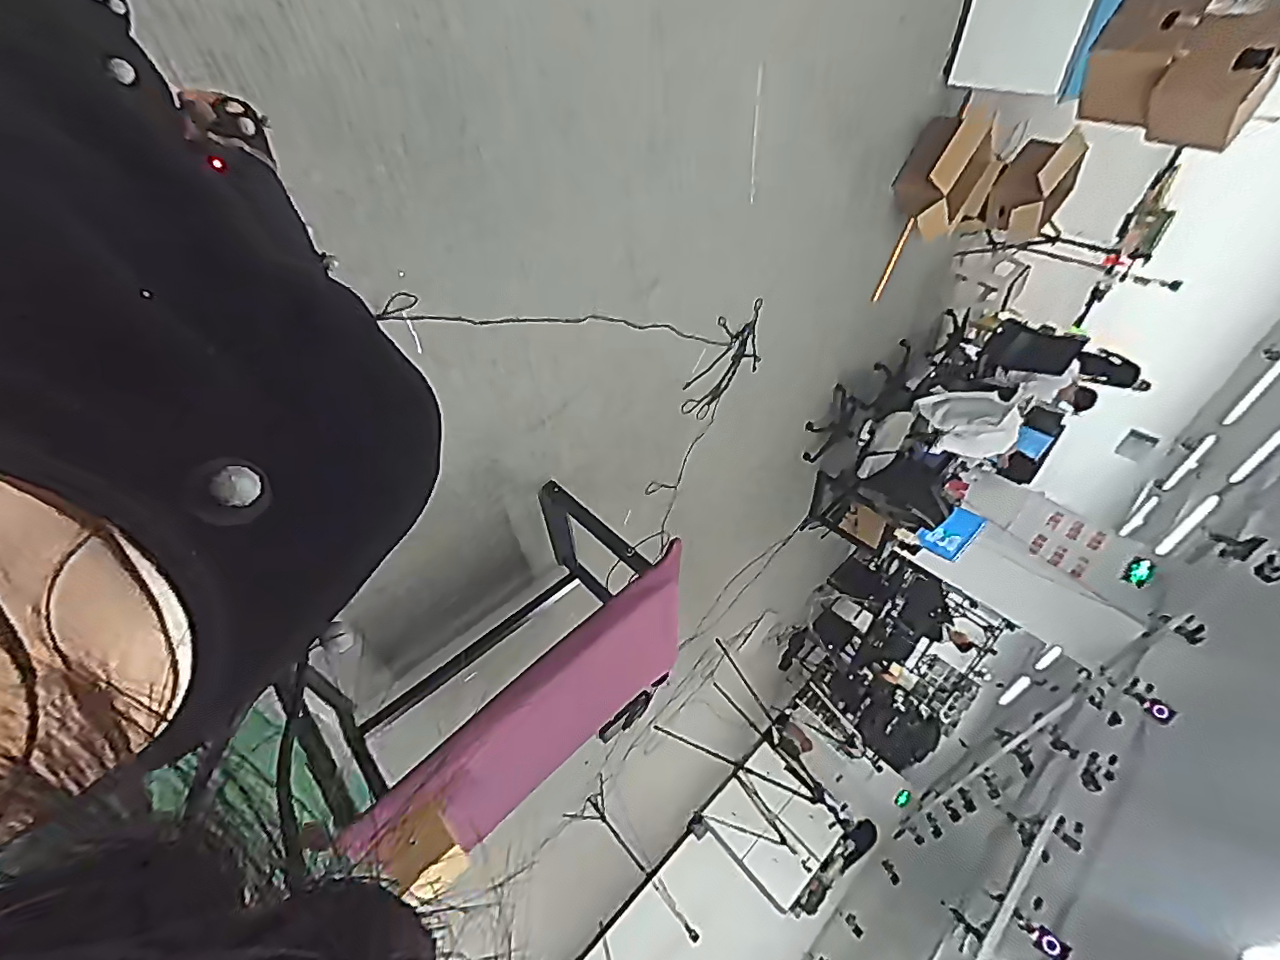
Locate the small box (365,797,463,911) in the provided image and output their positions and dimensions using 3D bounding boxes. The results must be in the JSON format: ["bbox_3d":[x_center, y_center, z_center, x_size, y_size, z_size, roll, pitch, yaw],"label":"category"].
[{"bbox_3d":[-0.609,1.000,1.458,0.168,0.176,0.179,-32,140,-30],"label":"small box"}]
